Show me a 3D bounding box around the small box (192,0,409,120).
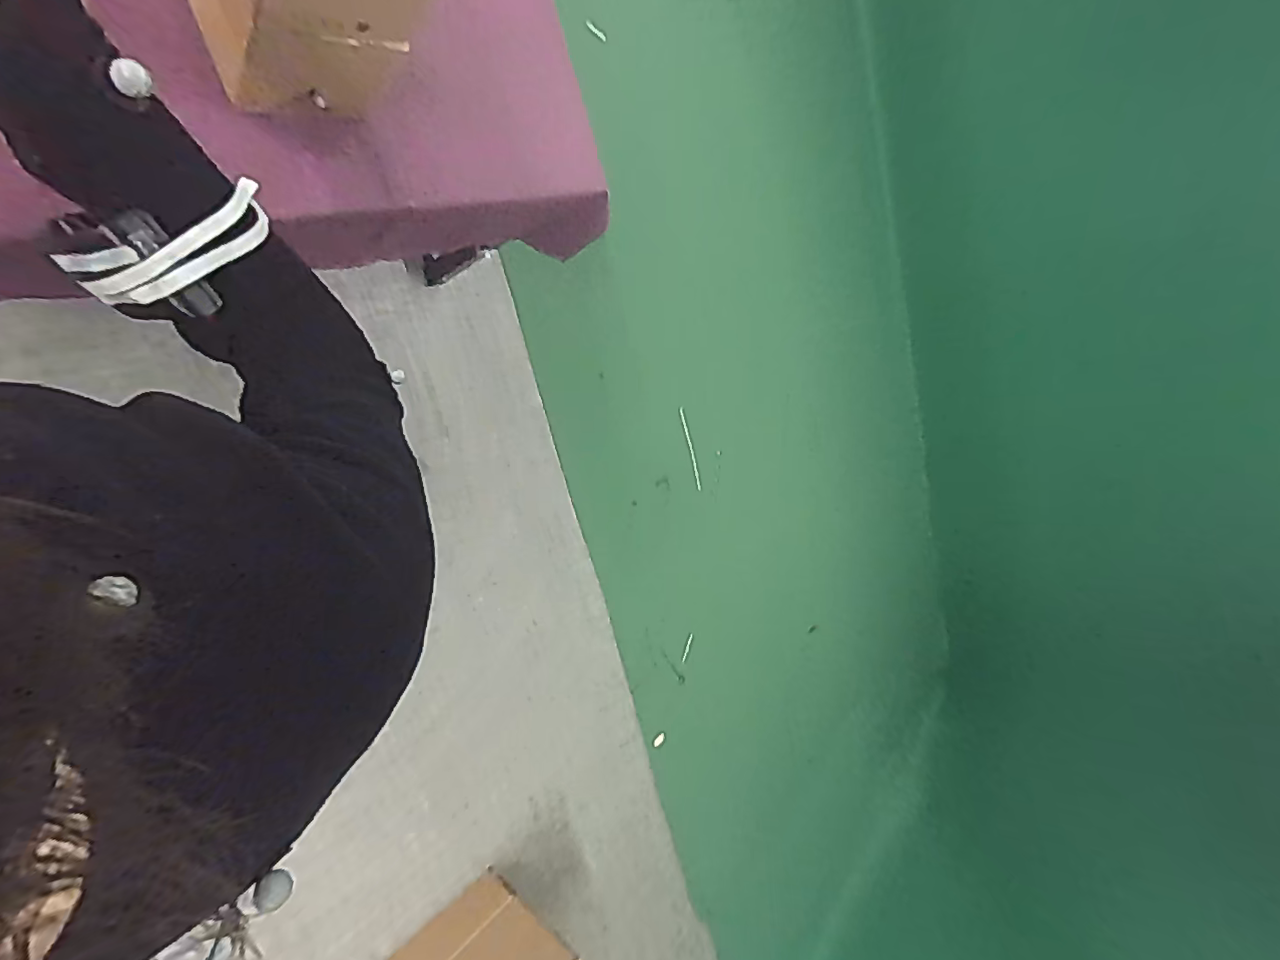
[{"bbox_3d":[-0.405,-0.558,0.627,0.168,0.176,0.179,-28,108,-38],"label":"small box"}]
